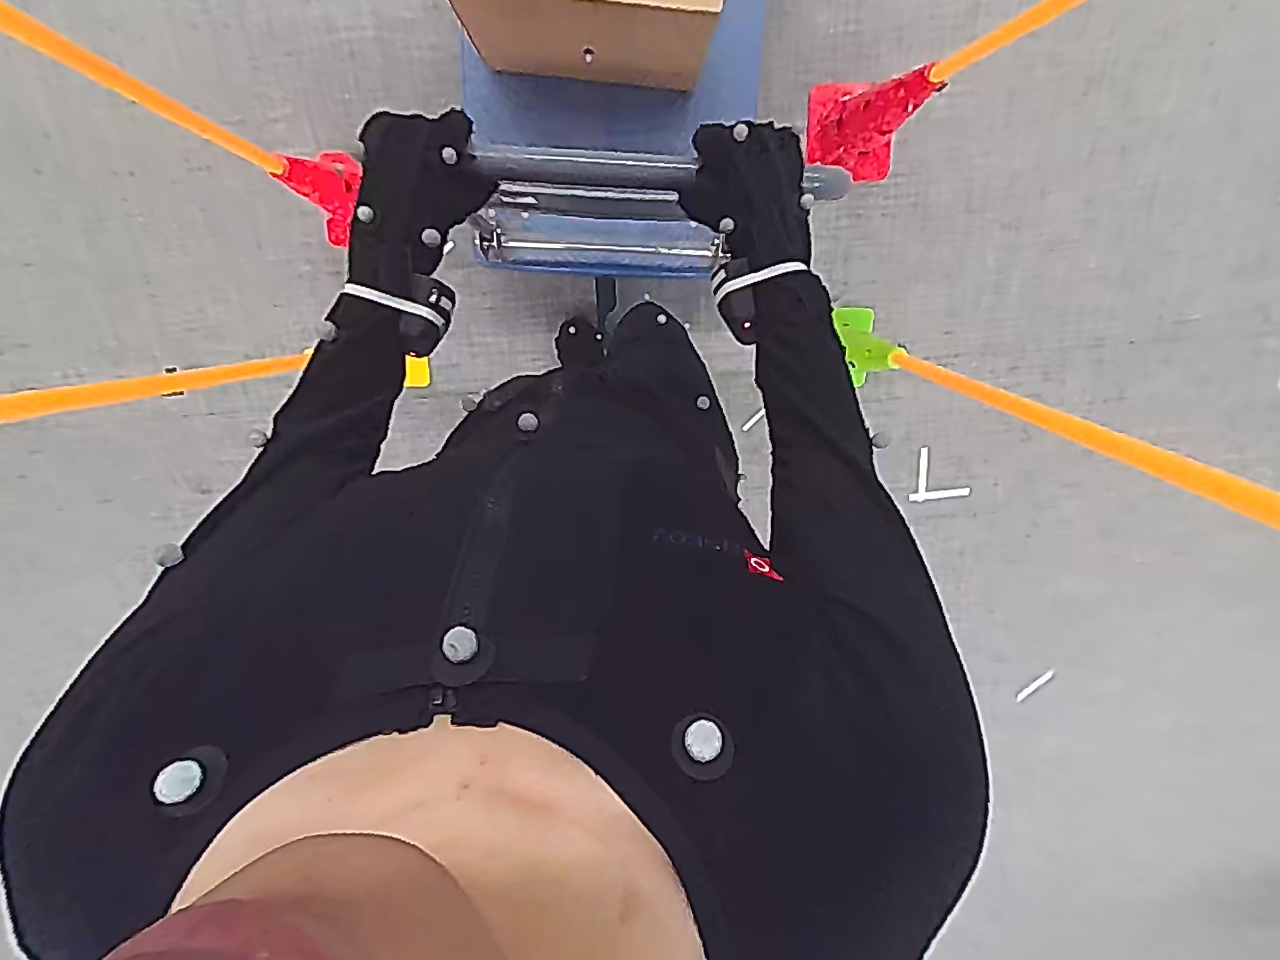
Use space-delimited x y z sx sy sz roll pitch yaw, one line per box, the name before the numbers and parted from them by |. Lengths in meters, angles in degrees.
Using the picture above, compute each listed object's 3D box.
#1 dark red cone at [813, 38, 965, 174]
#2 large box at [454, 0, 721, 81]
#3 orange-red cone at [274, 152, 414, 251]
dark red cone | 0.499 -0.754 1.065 0.201 0.394 0.202 -4 108 -2
large box | -0.075 -0.885 0.871 0.408 0.320 0.320 3 108 -2
orange-red cone | -0.624 -0.599 1.100 0.198 0.360 0.199 3 106 -4
